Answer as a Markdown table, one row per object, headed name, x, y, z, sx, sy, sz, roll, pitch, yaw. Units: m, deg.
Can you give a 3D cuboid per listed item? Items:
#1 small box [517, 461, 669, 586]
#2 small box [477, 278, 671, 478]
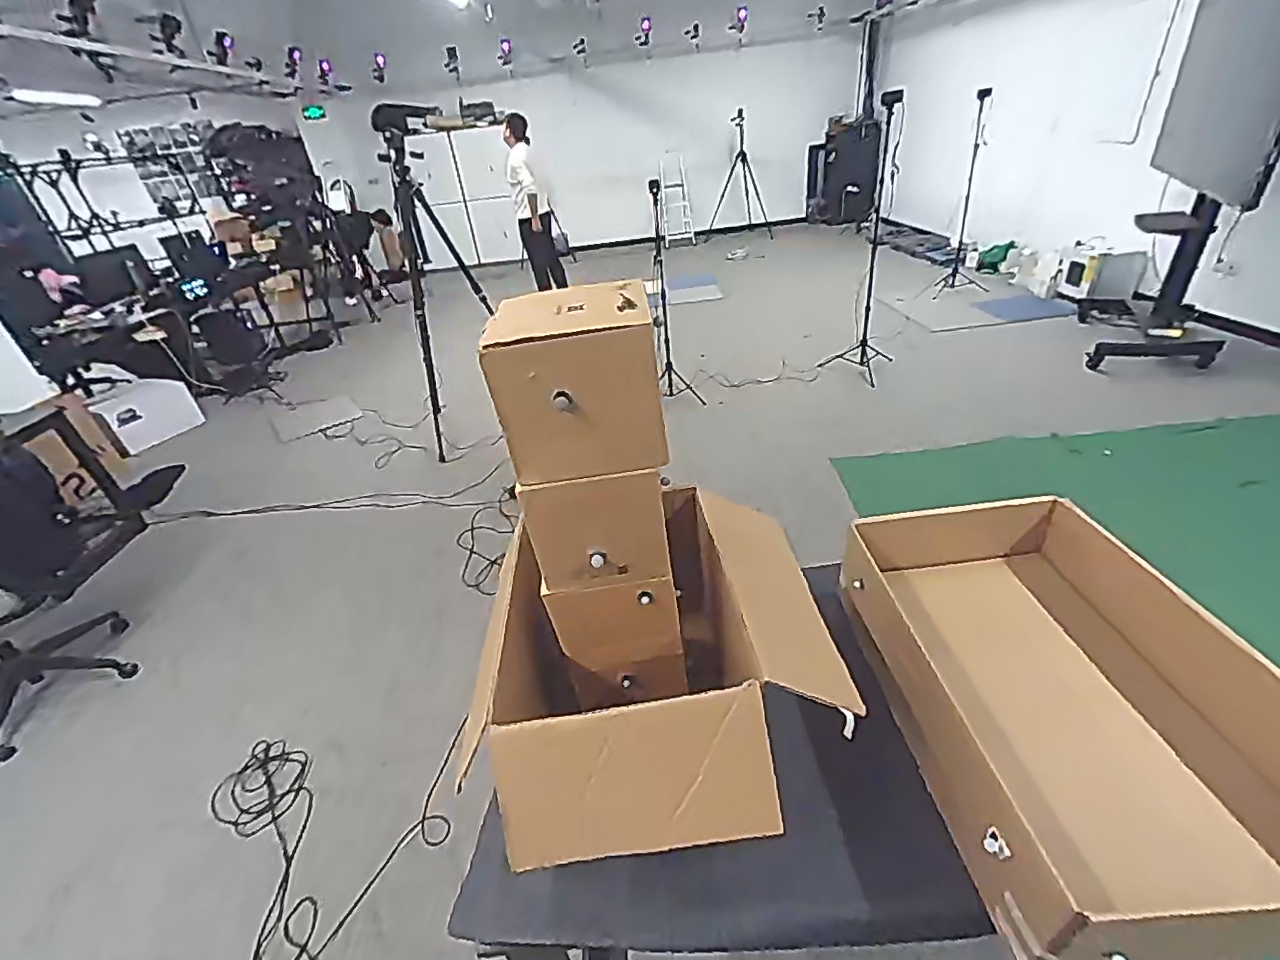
| name | x | y | z | sx | sy | sz | roll | pitch | yaw |
| --- | --- | --- | --- | --- | --- | --- | --- | --- | --- |
| small box | -0.055 | 0.016 | 0.726 | 0.168 | 0.176 | 0.179 | -8 | 36 | 2 |
| small box | -0.065 | -0.117 | 0.631 | 0.179 | 0.176 | 0.168 | -8 | 36 | 2 |
